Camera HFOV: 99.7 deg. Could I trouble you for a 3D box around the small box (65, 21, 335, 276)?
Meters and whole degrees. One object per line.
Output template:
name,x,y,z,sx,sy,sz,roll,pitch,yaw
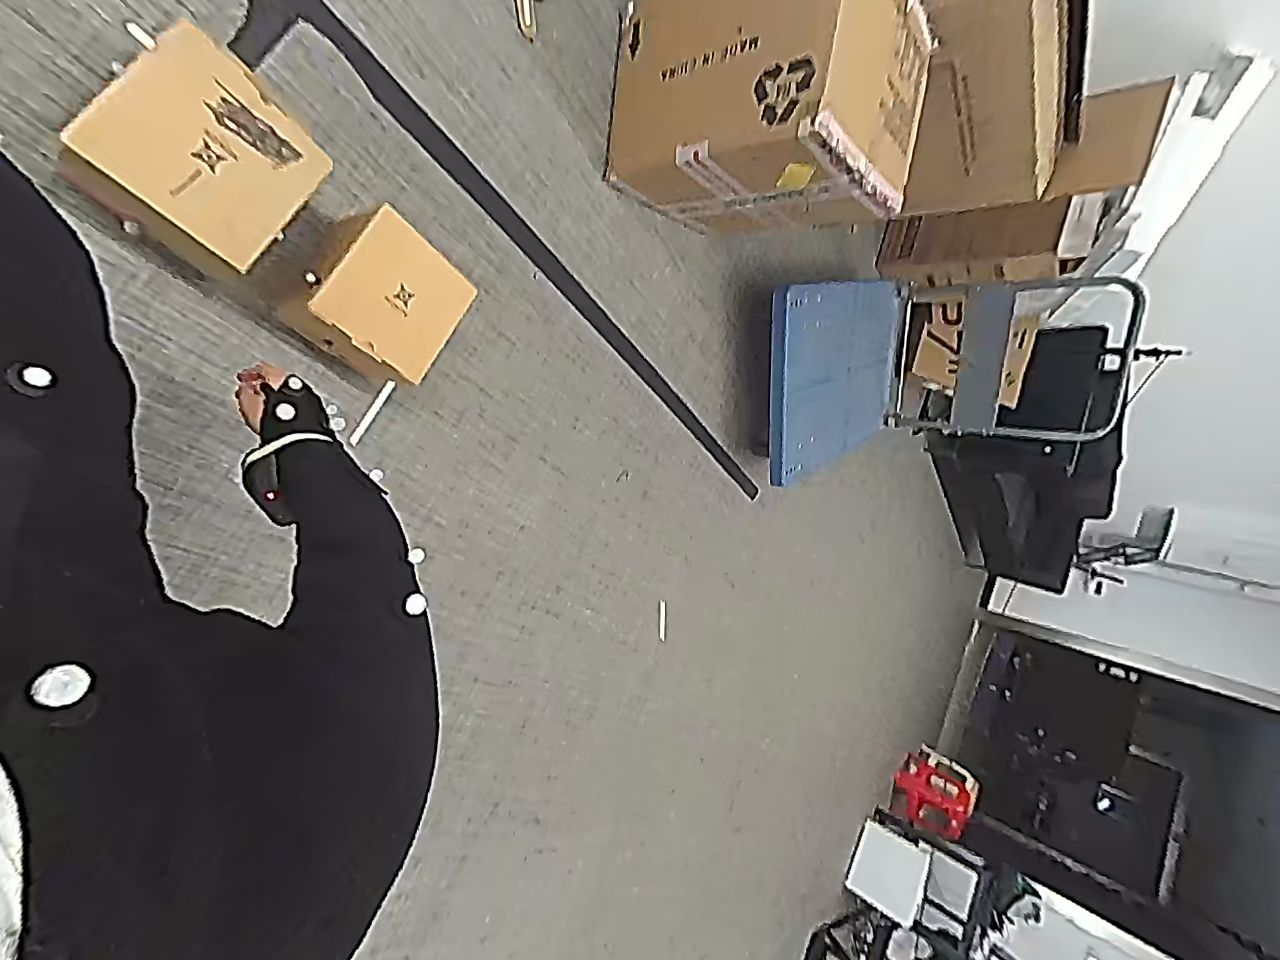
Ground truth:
small box,-0.500,-0.357,0.615,0.168,0.176,0.179,44,69,-45

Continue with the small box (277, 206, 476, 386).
small box,-0.382,-0.260,0.783,0.168,0.176,0.179,42,70,-47
